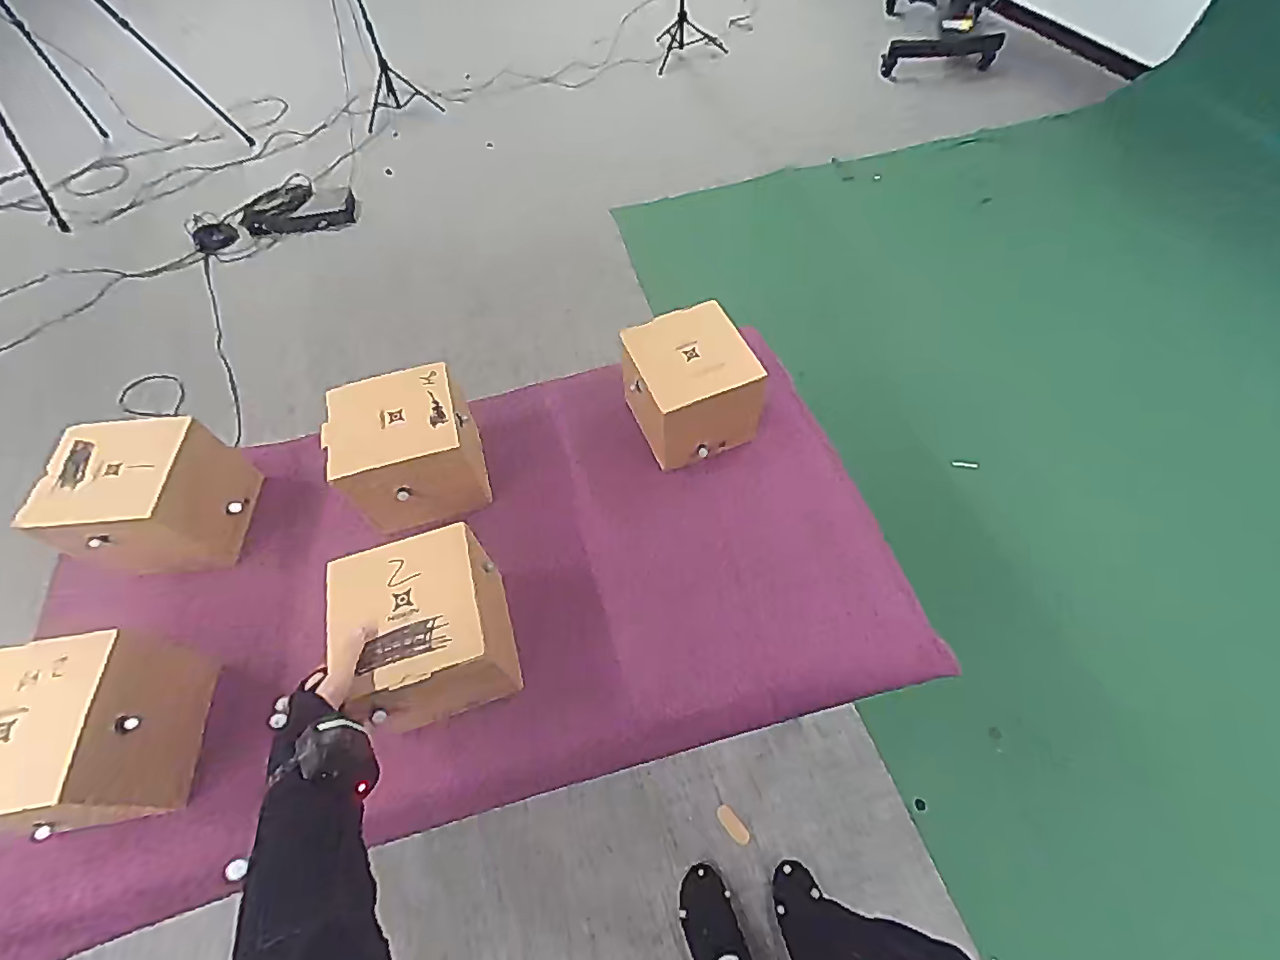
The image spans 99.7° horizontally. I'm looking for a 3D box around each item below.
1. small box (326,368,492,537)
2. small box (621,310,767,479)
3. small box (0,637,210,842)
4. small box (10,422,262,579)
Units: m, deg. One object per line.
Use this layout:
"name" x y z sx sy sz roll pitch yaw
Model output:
"small box" -0.342 -0.035 0.816 0.179 0.176 0.168 -16 60 -7
"small box" 0.078 -0.133 0.861 0.168 0.176 0.179 -20 60 -8
"small box" -0.640 0.298 0.612 0.168 0.176 0.179 -8 57 -4
"small box" -0.704 0.036 0.784 0.179 0.176 0.168 -4 58 -2
